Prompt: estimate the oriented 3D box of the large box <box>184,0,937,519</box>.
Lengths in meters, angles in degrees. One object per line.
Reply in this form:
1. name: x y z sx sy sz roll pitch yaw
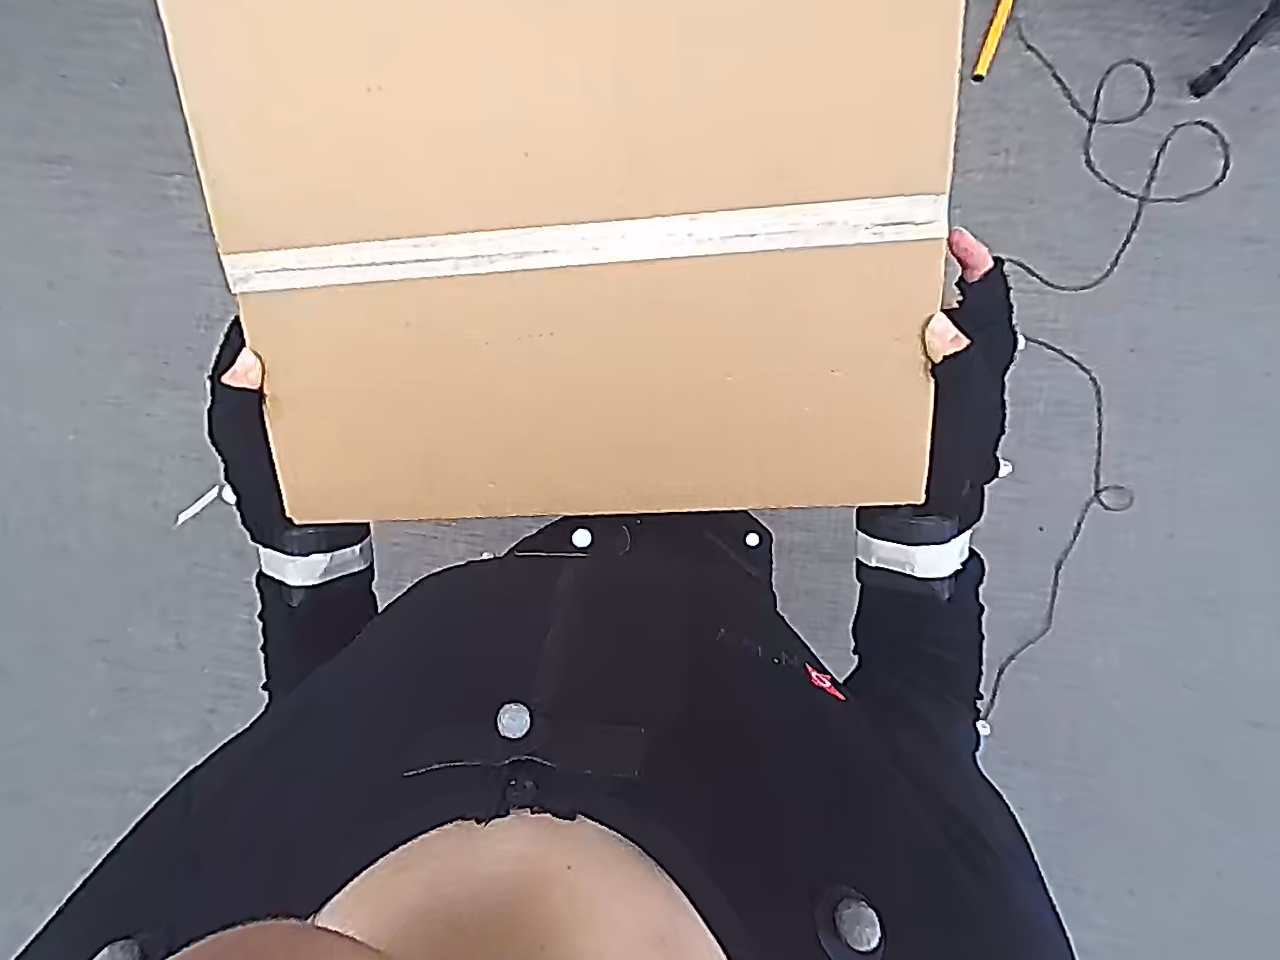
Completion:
1. large box: -0.032 -0.171 0.455 0.408 0.320 0.320 -3 106 5
